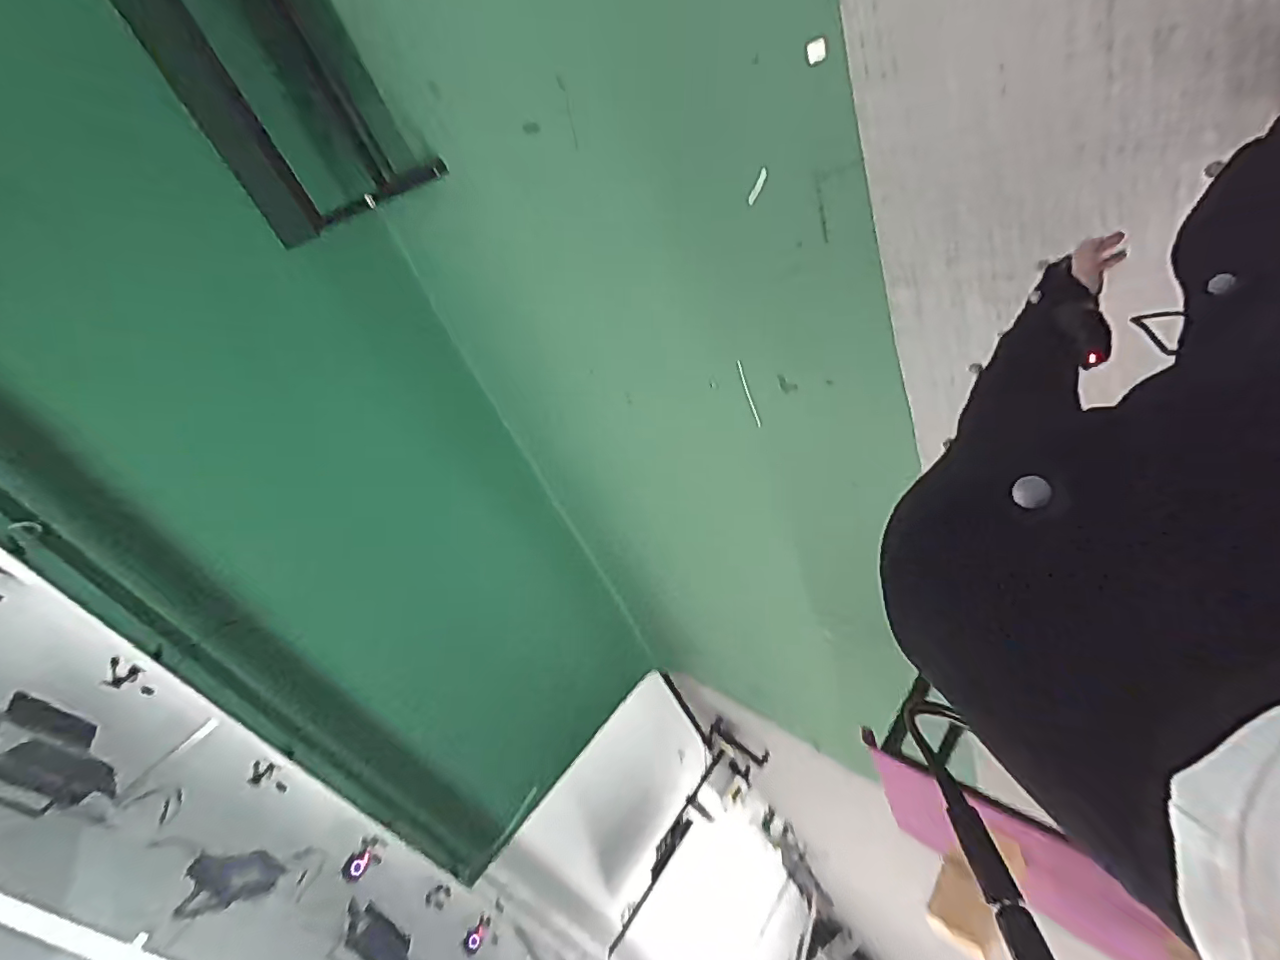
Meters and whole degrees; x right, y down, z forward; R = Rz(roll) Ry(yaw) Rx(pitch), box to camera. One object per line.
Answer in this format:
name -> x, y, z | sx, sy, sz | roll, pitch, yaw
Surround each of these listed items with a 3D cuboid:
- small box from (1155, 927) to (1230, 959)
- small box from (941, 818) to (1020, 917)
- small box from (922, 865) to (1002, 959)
small box -> 1.424, 1.299, 1.368 | 0.168, 0.176, 0.179 | 4, 131, 52
small box -> 1.099, 1.238, 1.741 | 0.168, 0.176, 0.179 | 8, 136, 49
small box -> 0.992, 1.335, 1.661 | 0.168, 0.176, 0.179 | 12, 139, 47
